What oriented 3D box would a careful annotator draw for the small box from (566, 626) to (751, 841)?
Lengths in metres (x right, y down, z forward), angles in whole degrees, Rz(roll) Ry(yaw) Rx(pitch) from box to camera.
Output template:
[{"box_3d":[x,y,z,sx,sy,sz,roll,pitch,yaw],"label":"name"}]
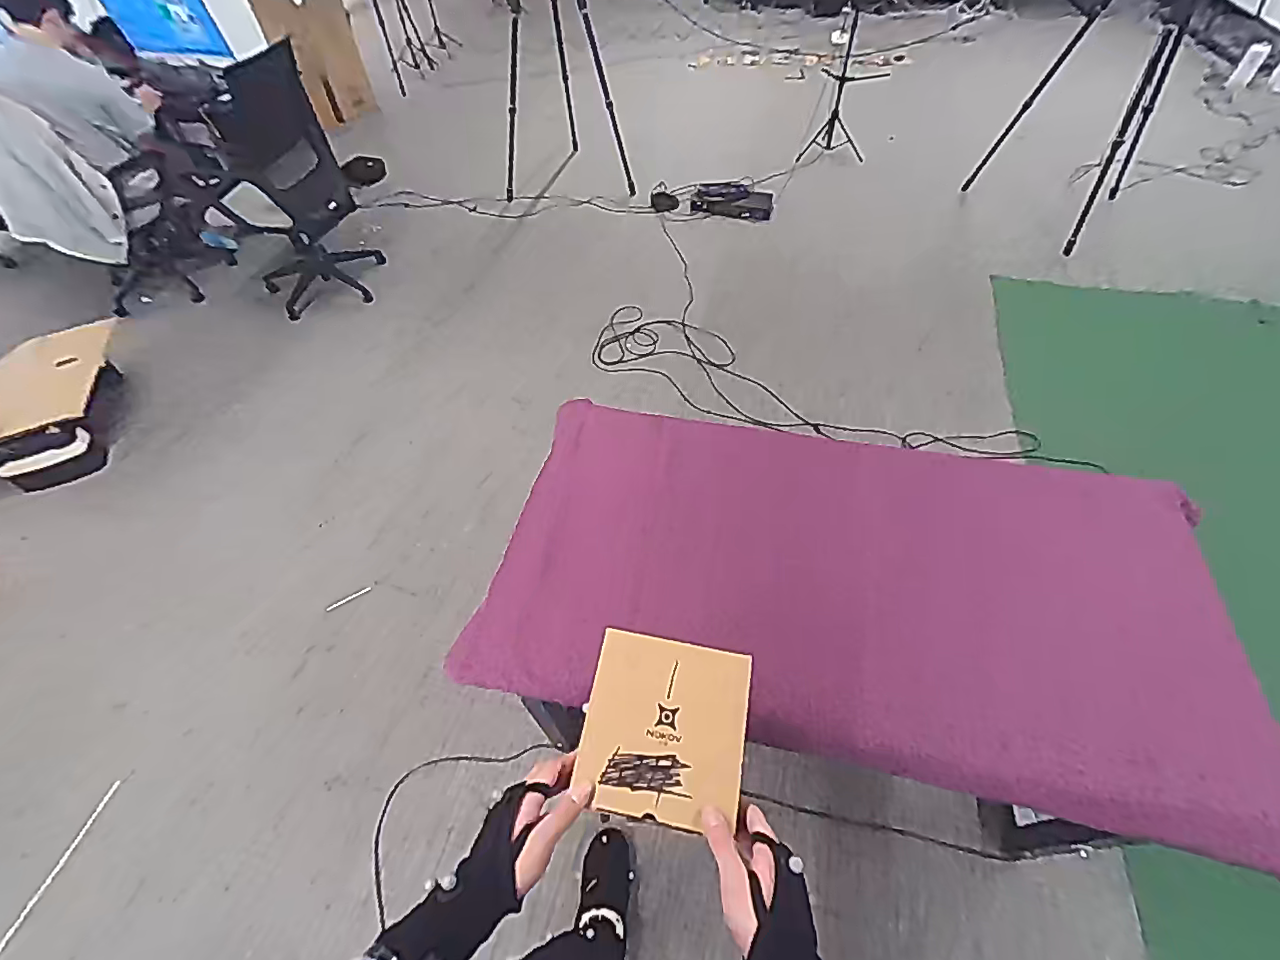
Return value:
[{"box_3d":[0.026,0.291,0.624,0.168,0.176,0.179,10,60,7],"label":"small box"}]
